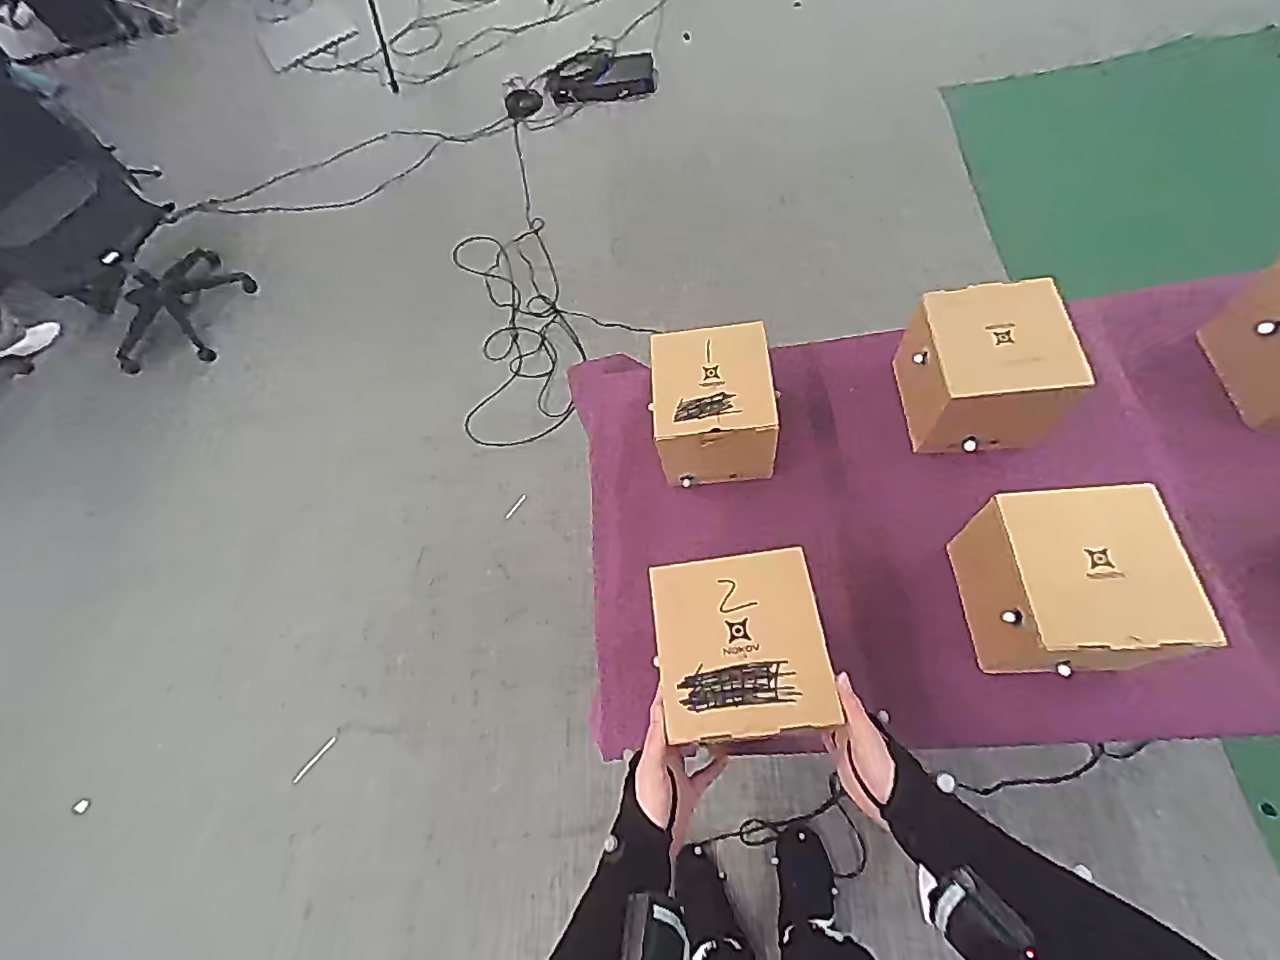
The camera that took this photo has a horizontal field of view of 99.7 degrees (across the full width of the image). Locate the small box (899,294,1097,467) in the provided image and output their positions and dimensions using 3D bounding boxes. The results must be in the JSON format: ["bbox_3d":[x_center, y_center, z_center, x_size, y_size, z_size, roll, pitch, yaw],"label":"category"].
[{"bbox_3d":[0.487,-0.134,0.772,0.168,0.176,0.179,-3,66,9],"label":"small box"}]

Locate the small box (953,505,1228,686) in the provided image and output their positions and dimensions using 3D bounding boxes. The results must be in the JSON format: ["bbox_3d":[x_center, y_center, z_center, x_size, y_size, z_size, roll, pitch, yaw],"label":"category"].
[{"bbox_3d":[0.501,0.143,0.641,0.168,0.176,0.179,-4,65,7],"label":"small box"}]

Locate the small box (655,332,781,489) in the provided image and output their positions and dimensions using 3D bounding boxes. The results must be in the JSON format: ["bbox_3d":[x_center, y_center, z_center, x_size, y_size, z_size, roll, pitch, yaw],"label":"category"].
[{"bbox_3d":[0.114,-0.093,0.809,0.168,0.176,0.179,-4,66,7],"label":"small box"}]
